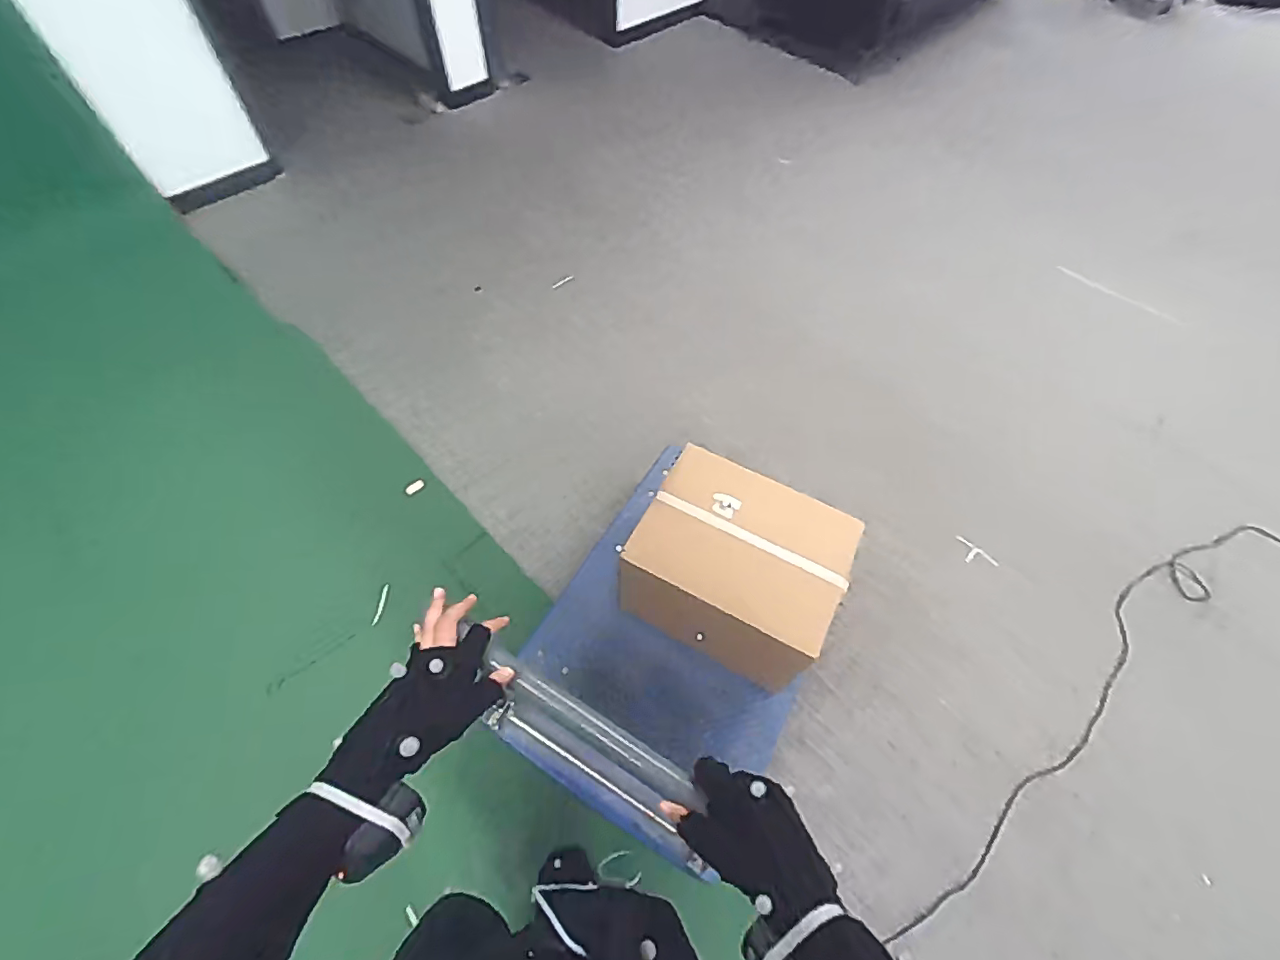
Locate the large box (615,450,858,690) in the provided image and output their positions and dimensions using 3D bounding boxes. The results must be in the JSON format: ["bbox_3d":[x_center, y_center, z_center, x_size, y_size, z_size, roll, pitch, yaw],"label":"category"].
[{"bbox_3d":[0.197,0.202,1.192,0.408,0.320,0.320,25,60,15],"label":"large box"}]
